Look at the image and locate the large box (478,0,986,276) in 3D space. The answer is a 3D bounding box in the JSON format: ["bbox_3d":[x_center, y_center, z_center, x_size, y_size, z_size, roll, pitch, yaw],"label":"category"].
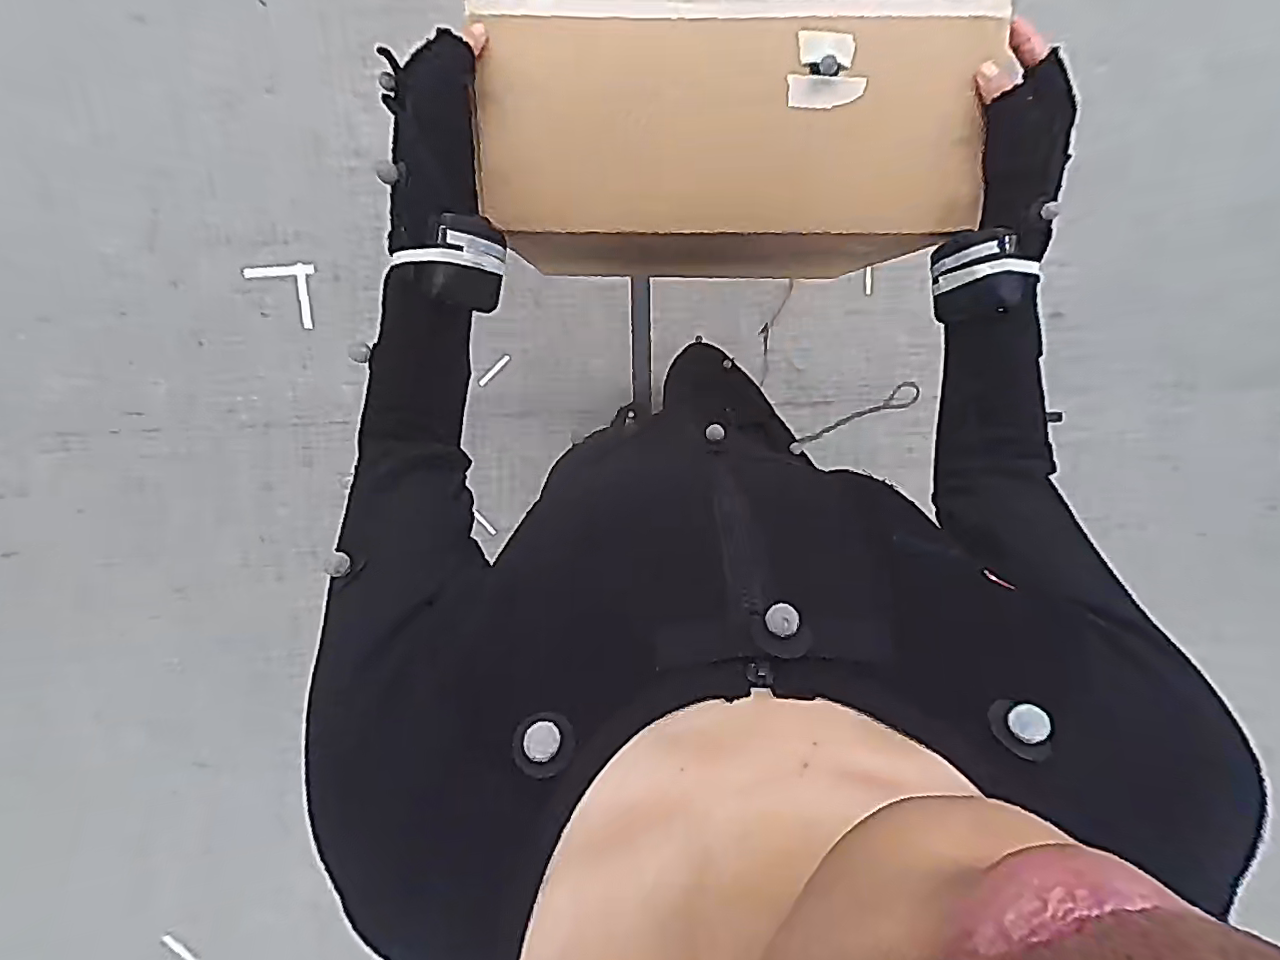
[{"bbox_3d":[0.067,-0.398,0.564,0.408,0.320,0.320,-1,105,-1],"label":"large box"}]
